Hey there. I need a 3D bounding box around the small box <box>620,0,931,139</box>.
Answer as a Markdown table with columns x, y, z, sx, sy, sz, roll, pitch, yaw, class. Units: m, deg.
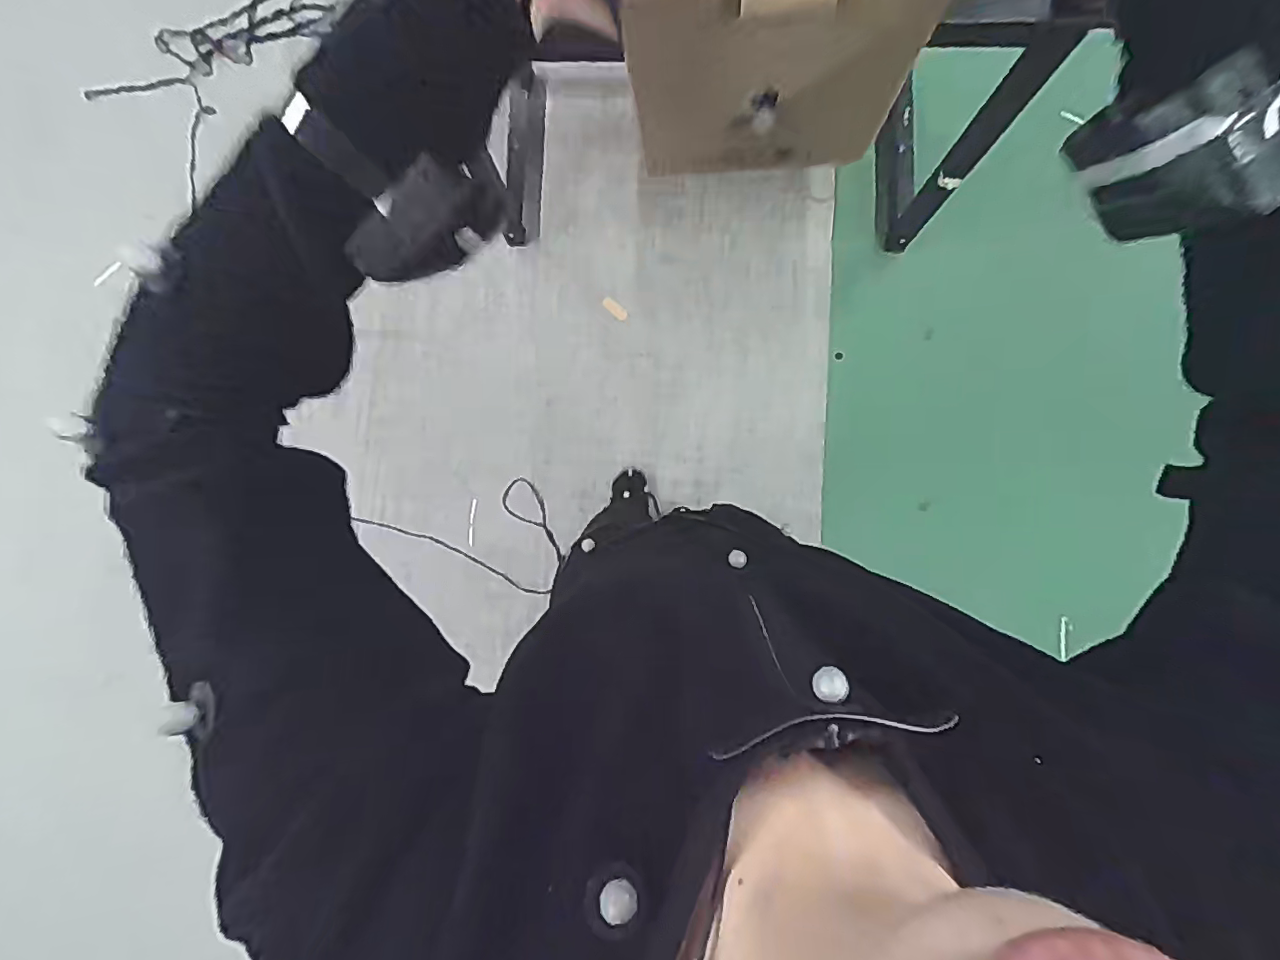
| x | y | z | sx | sy | sz | roll | pitch | yaw | class |
| --- | --- | --- | --- | --- | --- | --- | --- | --- | --- |
| 0.077 | -0.327 | 0.314 | 0.168 | 0.176 | 0.179 | 0 | 92 | 6 | small box |
